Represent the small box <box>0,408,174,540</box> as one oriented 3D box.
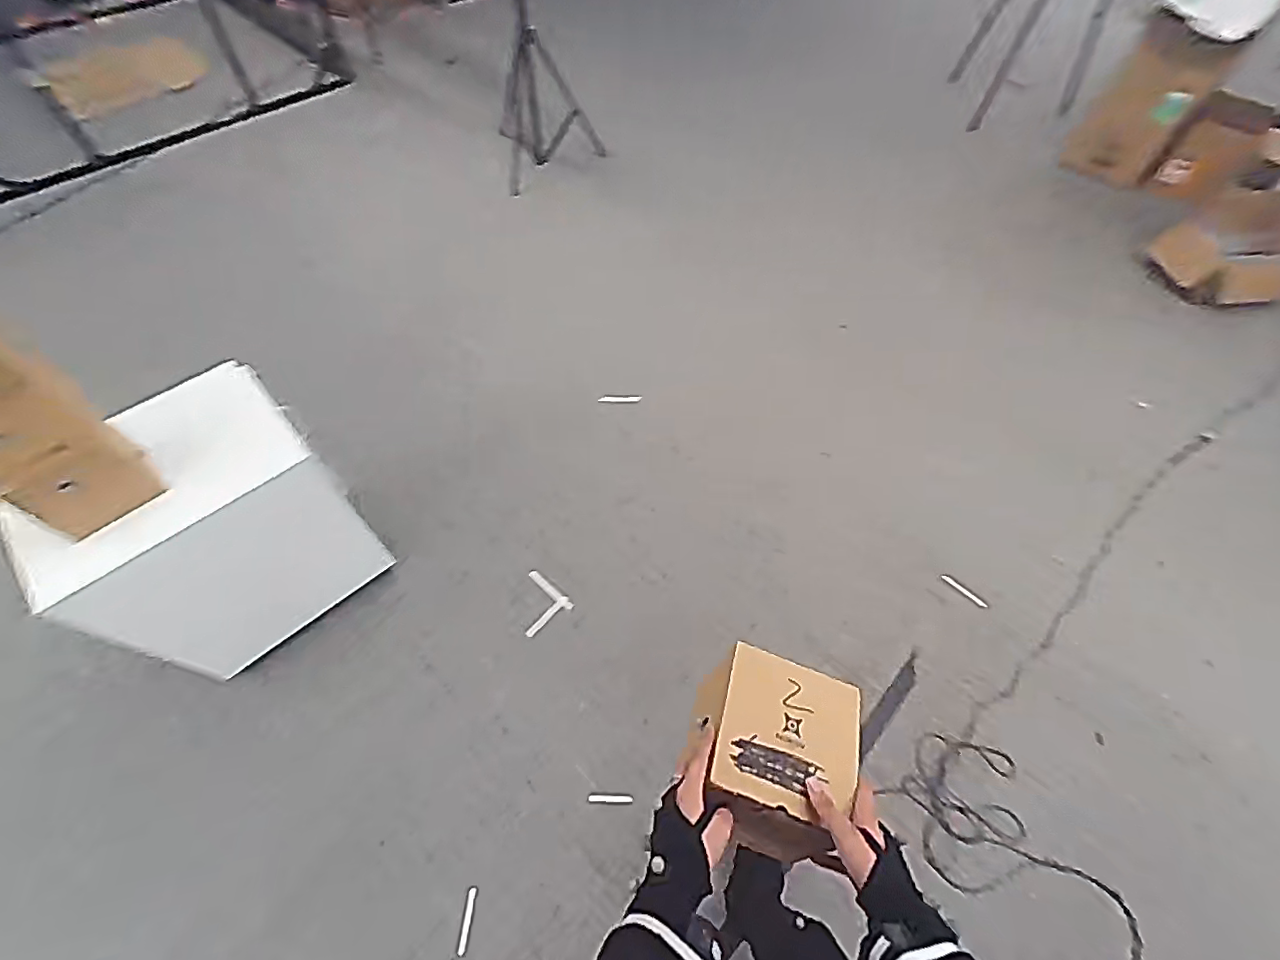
[{"bbox_3d":[-1.084,-0.013,1.057,0.168,0.176,0.179,40,64,21],"label":"small box"}]
